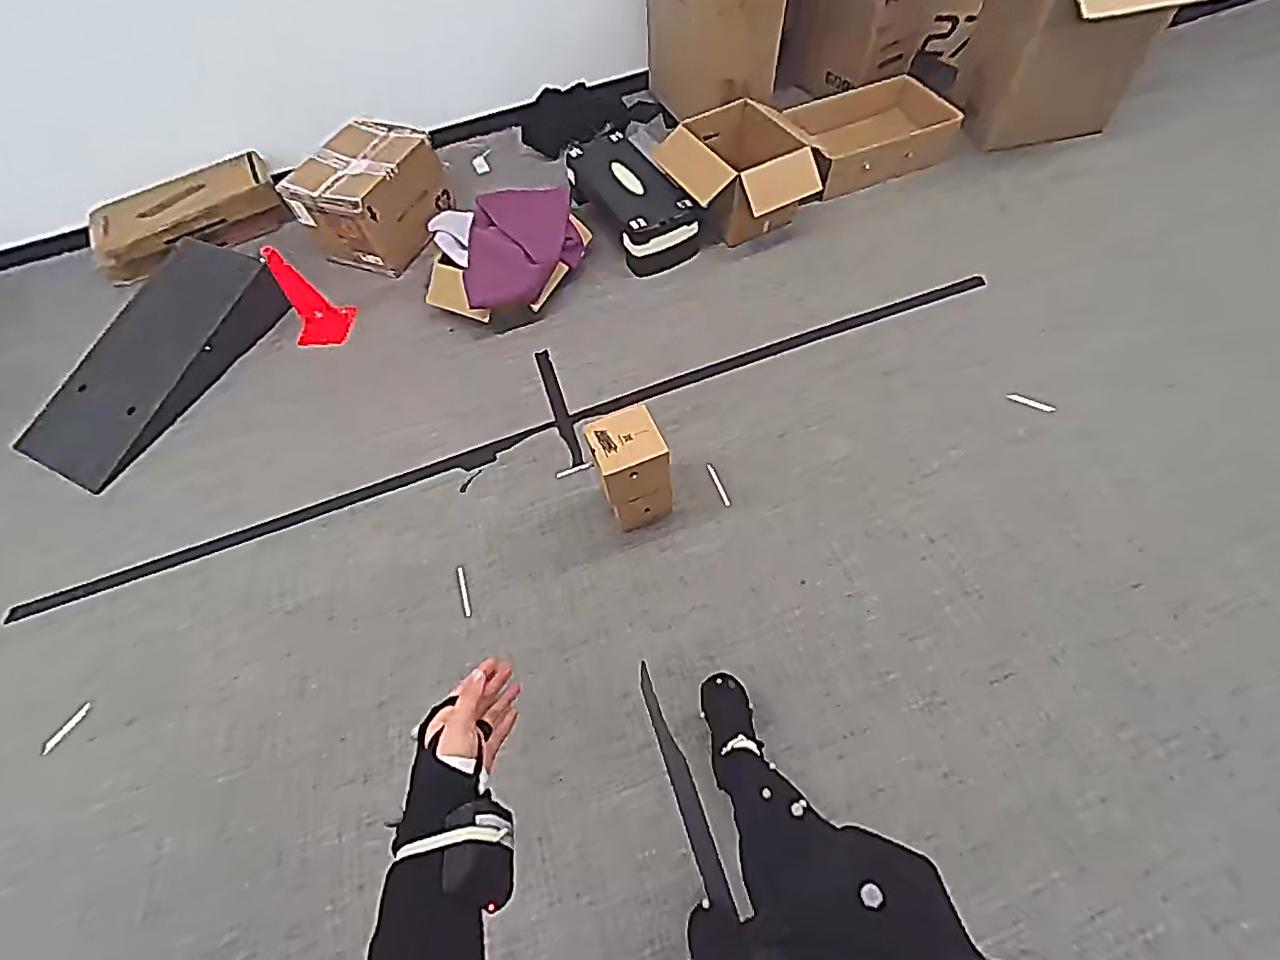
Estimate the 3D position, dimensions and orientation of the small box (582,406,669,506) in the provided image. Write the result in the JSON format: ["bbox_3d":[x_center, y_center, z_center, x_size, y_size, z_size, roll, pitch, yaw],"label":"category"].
[{"bbox_3d":[-0.033,-0.056,1.410,0.179,0.176,0.168,-21,60,-8],"label":"small box"}]

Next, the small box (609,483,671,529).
[{"bbox_3d":[-0.015,0.022,1.556,0.168,0.176,0.179,-21,61,-7],"label":"small box"}]
